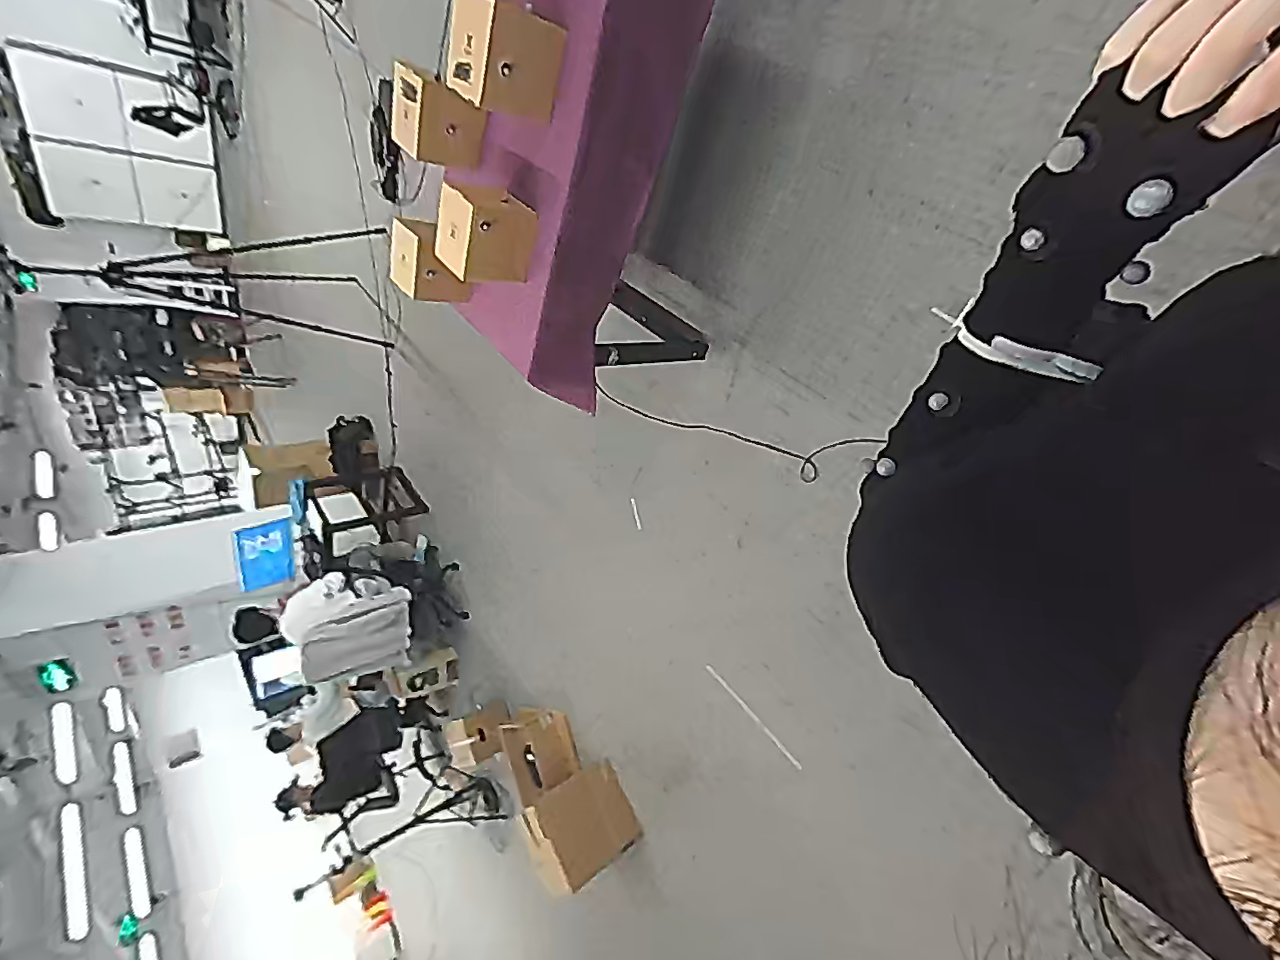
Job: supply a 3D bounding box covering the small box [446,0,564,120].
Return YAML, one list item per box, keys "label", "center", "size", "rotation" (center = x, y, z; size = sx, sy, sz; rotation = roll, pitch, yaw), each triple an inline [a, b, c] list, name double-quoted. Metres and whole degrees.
- label: "small box"
  center: [-0.280, -0.886, 1.127]
  size: [0.168, 0.176, 0.179]
  rotation: [47, 130, 28]

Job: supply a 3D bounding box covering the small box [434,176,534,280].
- label: "small box"
  center: [-0.378, -0.603, 1.314]
  size: [0.168, 0.176, 0.179]
  rotation: [46, 129, 30]
